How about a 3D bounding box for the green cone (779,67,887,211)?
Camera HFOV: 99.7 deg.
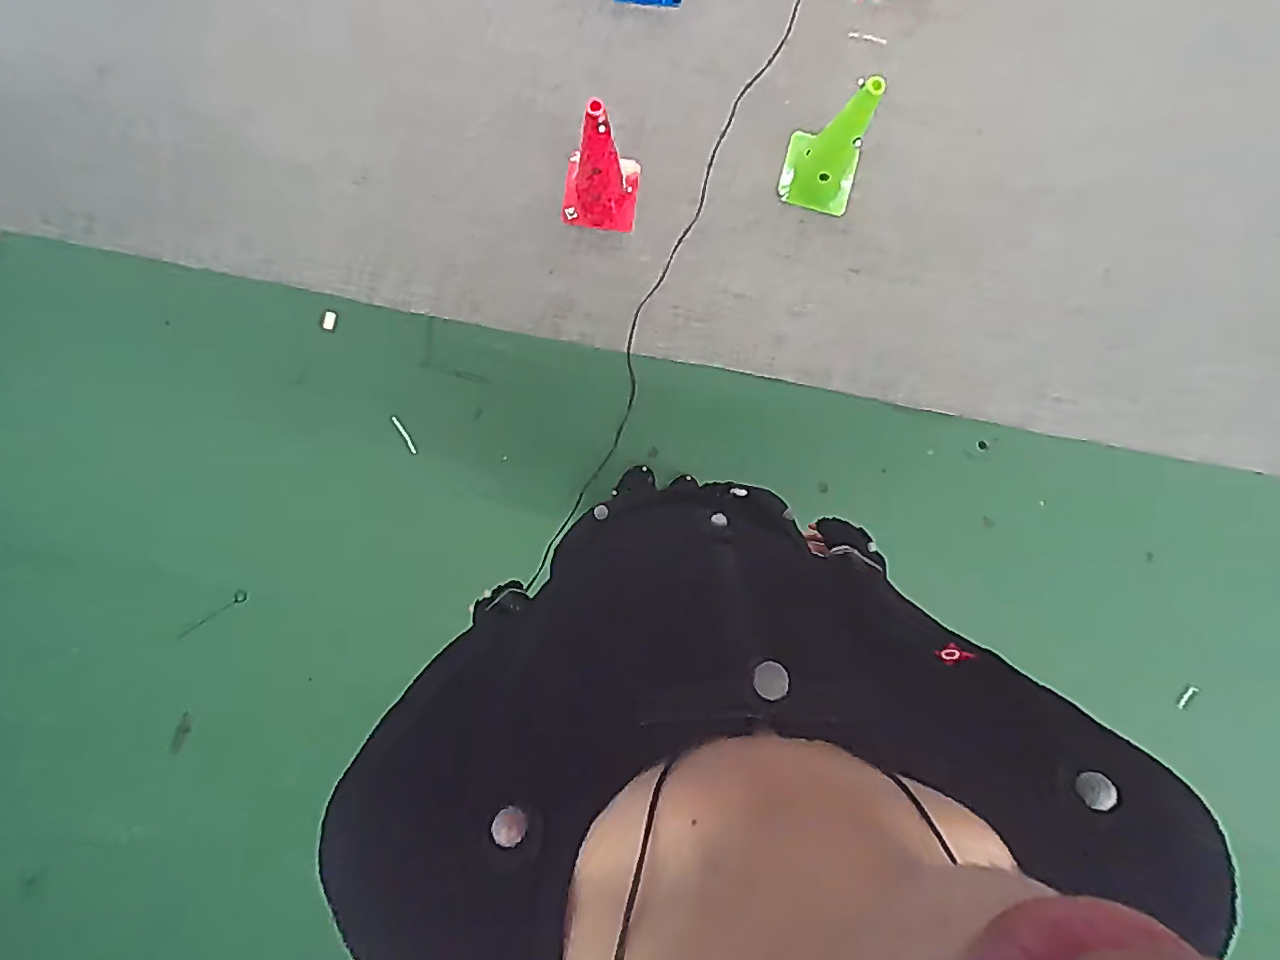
[{"bbox_3d":[0.508,-0.864,1.340,0.200,0.368,0.202,13,90,-2],"label":"green cone"}]
